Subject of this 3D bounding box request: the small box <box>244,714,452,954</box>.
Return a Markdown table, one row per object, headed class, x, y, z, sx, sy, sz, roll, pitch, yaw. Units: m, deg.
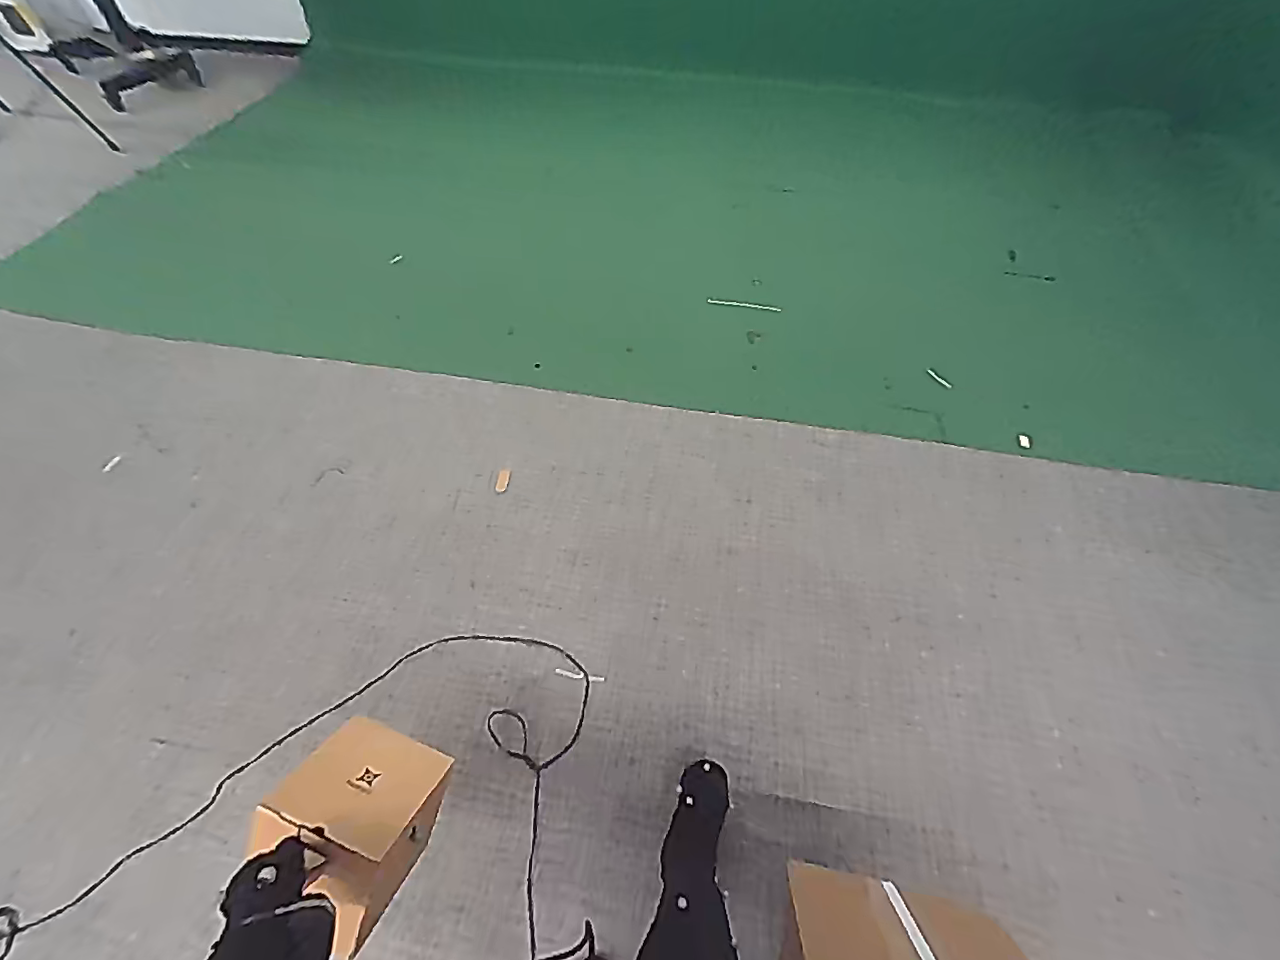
| class | x | y | z | sx | sy | sz | roll | pitch | yaw |
| --- | --- | --- | --- | --- | --- | --- | --- | --- | --- |
| small box | -0.390 | 0.467 | 0.731 | 0.168 | 0.176 | 0.179 | 23 | 16 | 5 |
